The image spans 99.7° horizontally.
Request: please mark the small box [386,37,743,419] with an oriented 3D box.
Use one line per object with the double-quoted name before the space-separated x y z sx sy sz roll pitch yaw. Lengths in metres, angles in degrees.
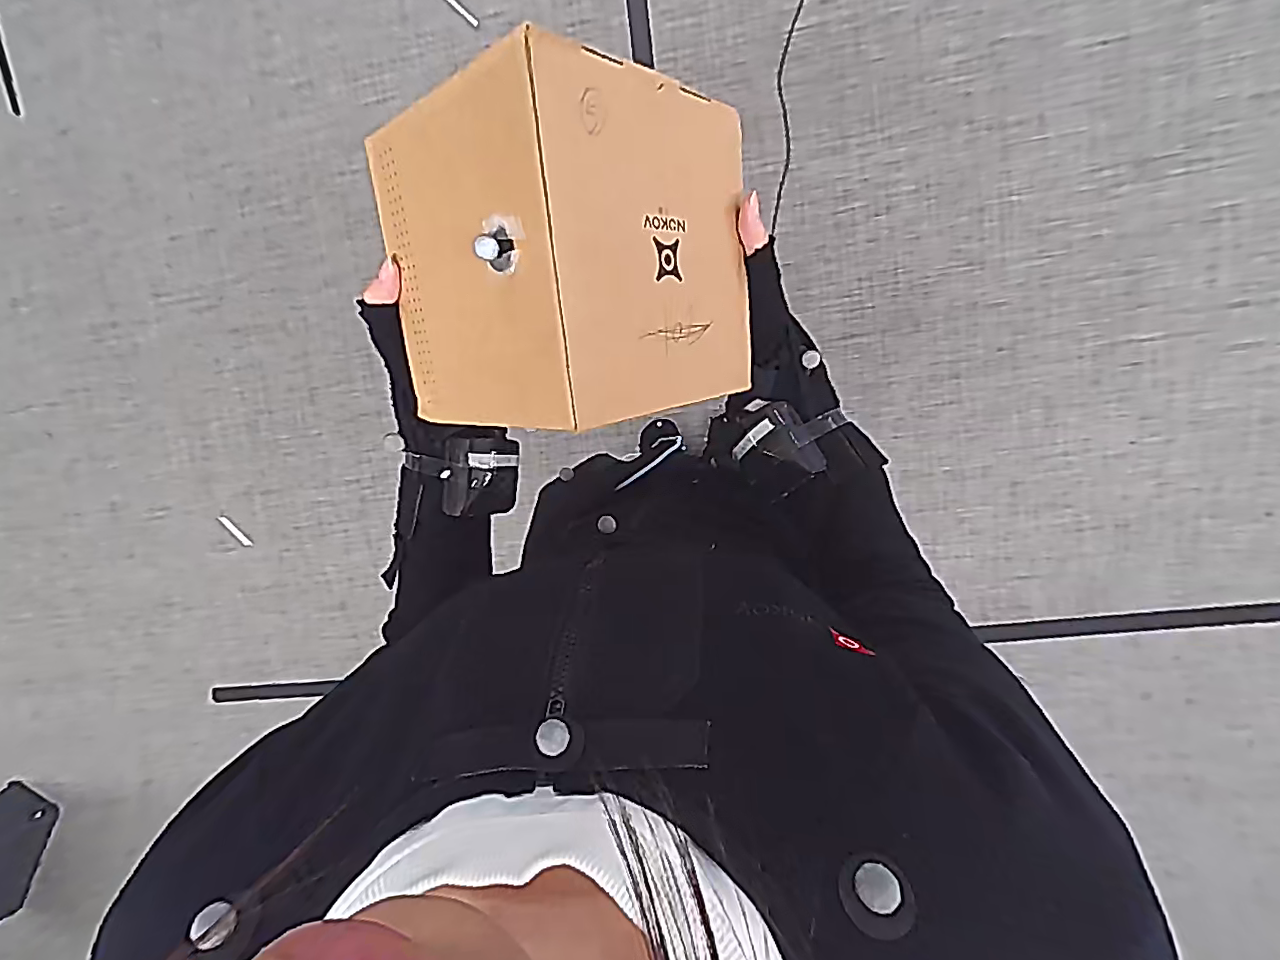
"small box" -0.048 -0.139 0.368 0.176 0.168 0.179 8 110 42
